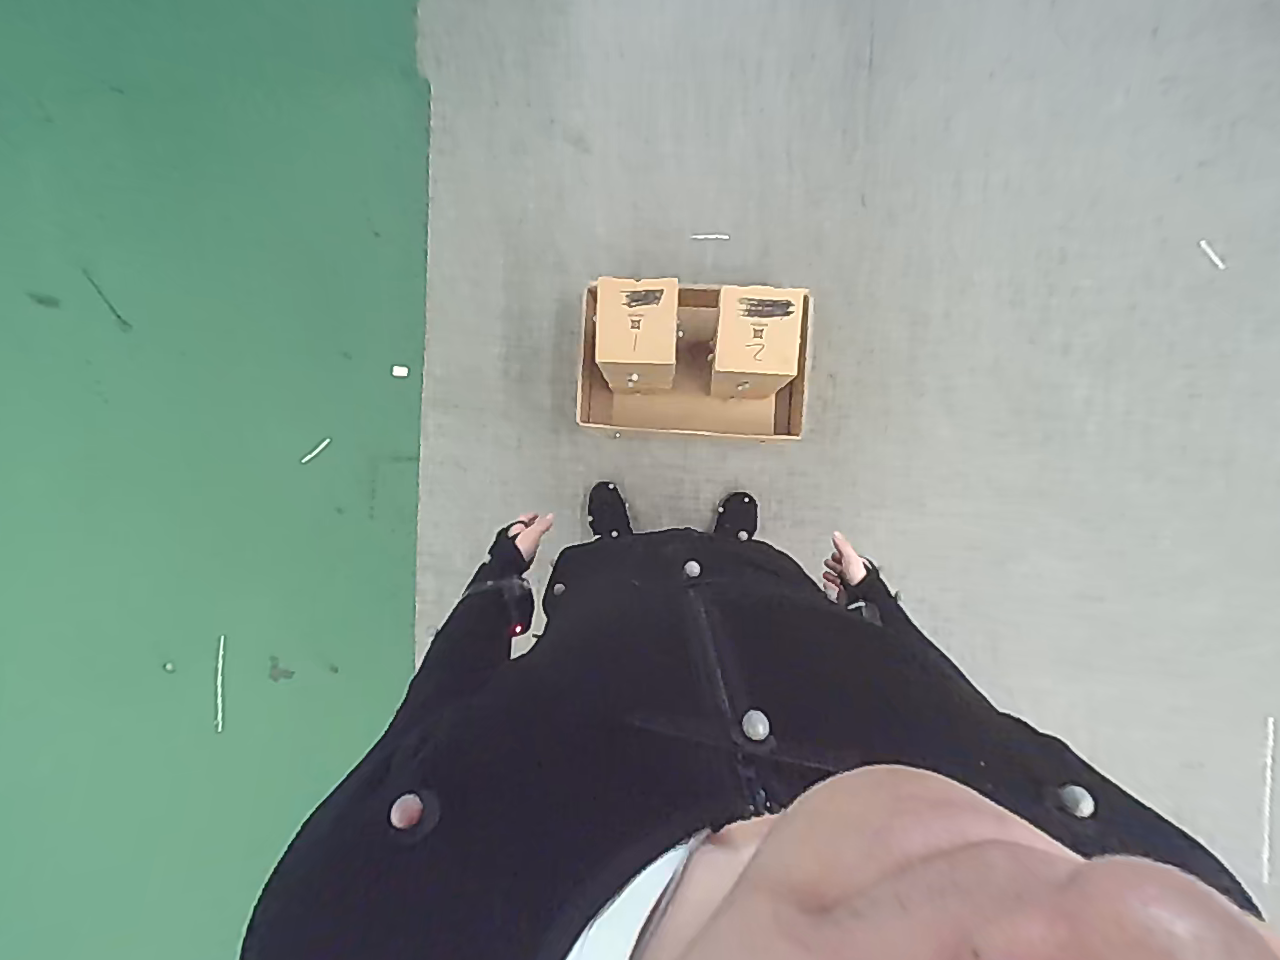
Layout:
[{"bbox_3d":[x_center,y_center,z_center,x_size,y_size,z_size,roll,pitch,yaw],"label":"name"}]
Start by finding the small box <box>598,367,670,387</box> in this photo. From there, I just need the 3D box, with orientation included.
[{"bbox_3d":[-0.008,-0.327,1.334,0.168,0.176,0.179,2,90,3],"label":"small box"}]

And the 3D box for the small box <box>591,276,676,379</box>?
[{"bbox_3d":[-0.012,-0.324,1.170,0.168,0.176,0.179,3,92,3],"label":"small box"}]

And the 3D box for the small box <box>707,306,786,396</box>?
[{"bbox_3d":[0.253,-0.309,1.320,0.168,0.176,0.179,3,91,5],"label":"small box"}]

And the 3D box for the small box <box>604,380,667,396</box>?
[{"bbox_3d":[-0.005,-0.330,1.496,0.168,0.176,0.179,3,91,2],"label":"small box"}]
